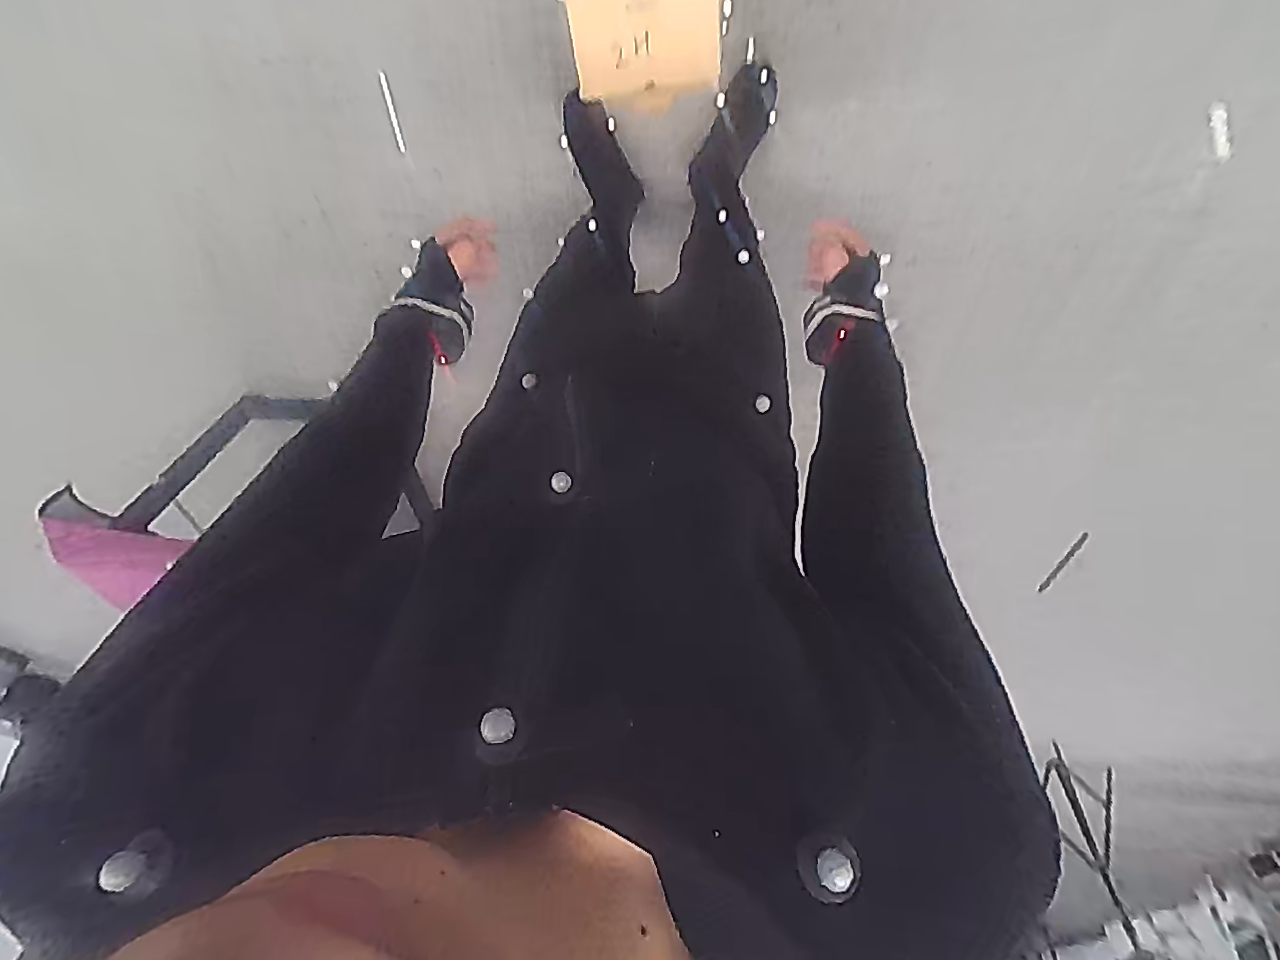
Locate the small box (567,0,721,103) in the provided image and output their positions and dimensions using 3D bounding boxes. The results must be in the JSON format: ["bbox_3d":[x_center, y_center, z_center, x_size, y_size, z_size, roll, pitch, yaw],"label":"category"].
[{"bbox_3d":[0.007,-0.573,0.637,0.168,0.176,0.179,-2,134,9],"label":"small box"}]
